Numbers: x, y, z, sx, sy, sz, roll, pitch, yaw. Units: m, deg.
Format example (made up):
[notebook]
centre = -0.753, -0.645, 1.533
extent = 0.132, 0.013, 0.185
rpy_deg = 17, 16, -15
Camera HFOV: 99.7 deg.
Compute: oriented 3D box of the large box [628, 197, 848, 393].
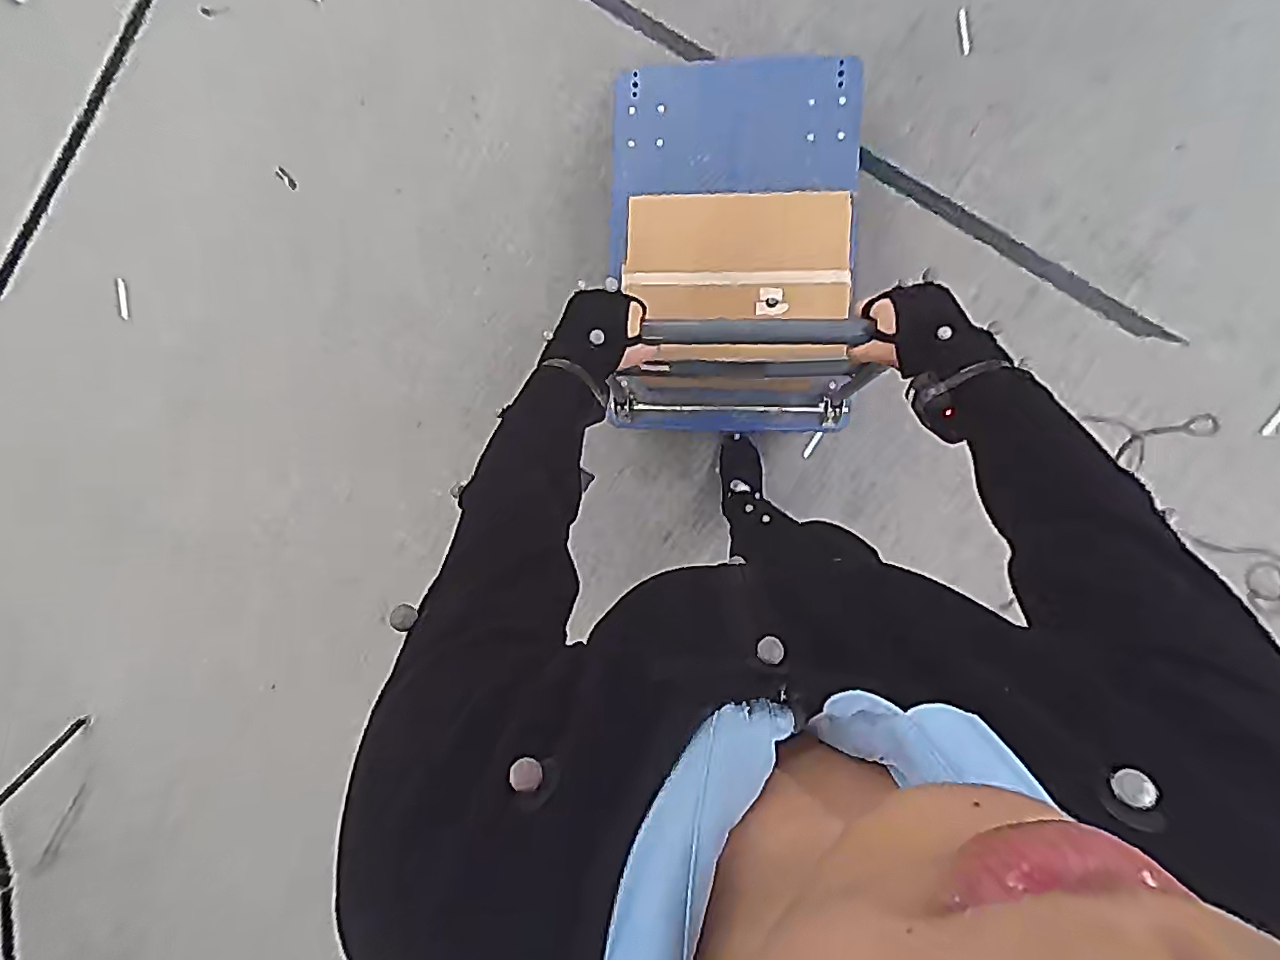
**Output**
[large box]
centre = 0.190, -0.363, 1.144
extent = 0.408, 0.320, 0.320
rpy_deg = 2, 92, 6
